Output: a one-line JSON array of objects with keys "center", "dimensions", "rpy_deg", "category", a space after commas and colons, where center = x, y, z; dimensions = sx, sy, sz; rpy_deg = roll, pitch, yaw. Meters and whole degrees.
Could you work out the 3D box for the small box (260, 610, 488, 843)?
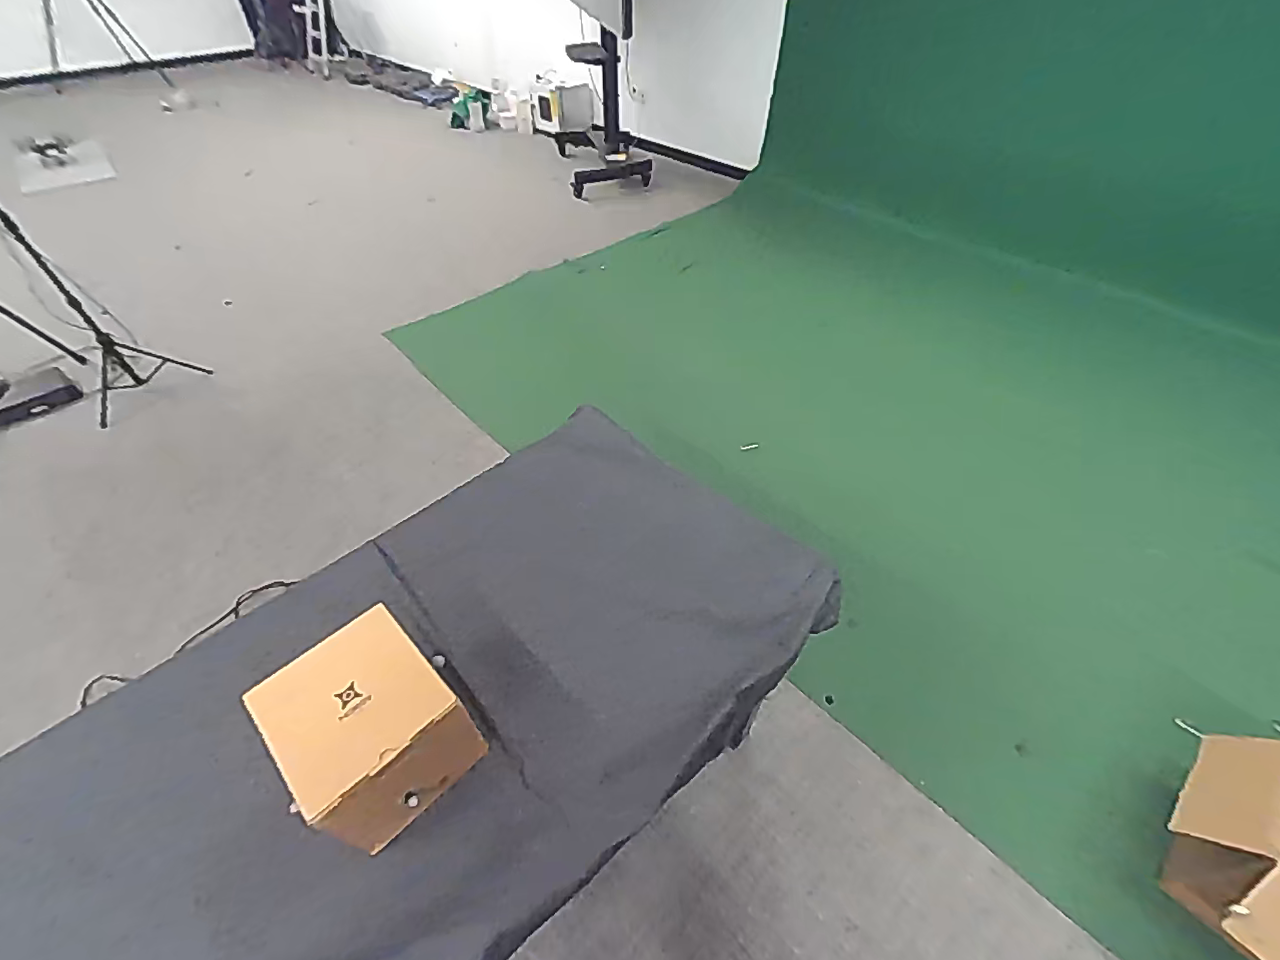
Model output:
[{"center": [-0.313, 0.303, 0.664], "dimensions": [0.179, 0.176, 0.168], "rpy_deg": [36, 56, 28], "category": "small box"}]
